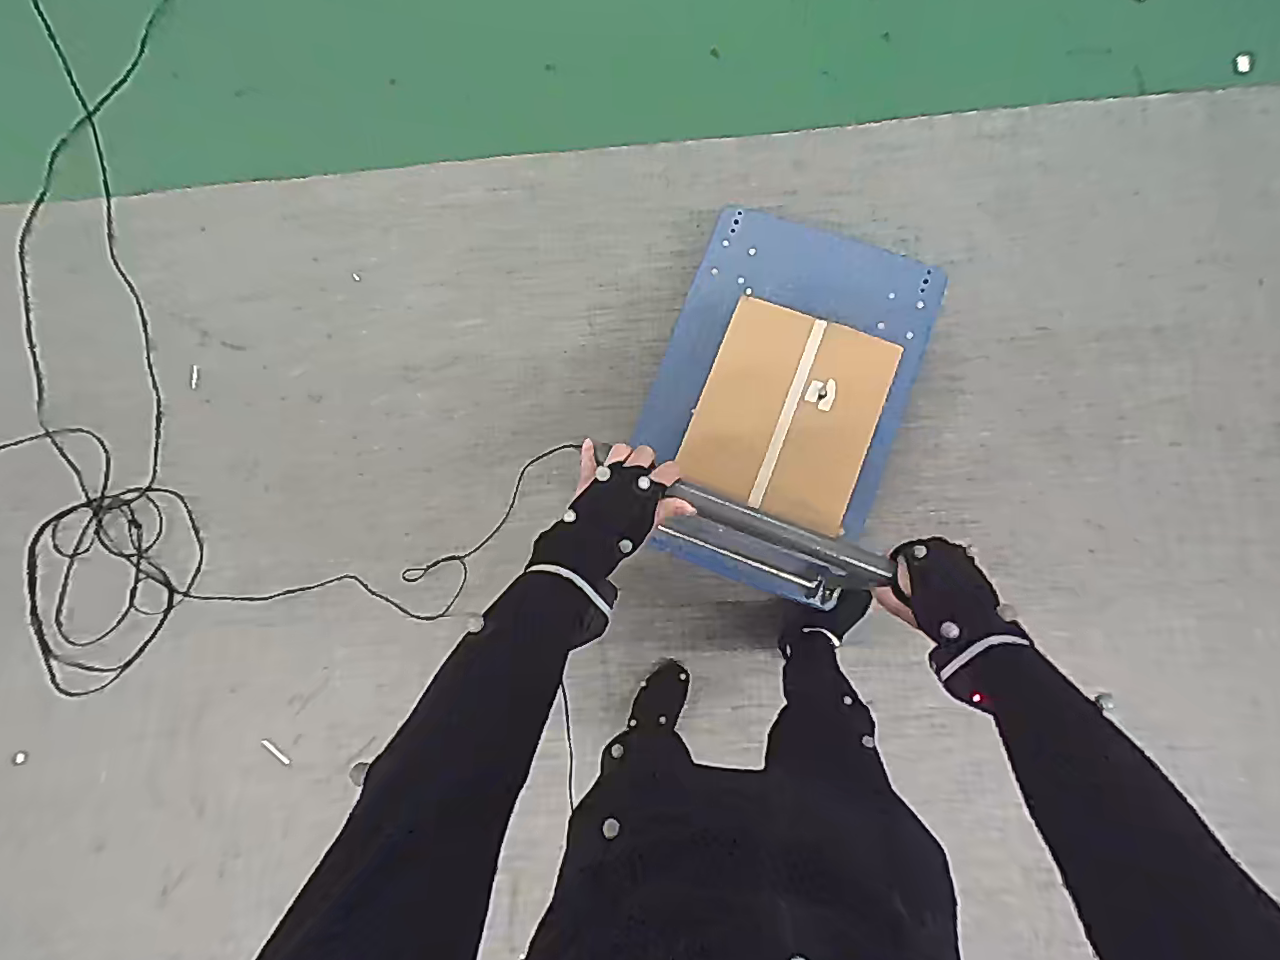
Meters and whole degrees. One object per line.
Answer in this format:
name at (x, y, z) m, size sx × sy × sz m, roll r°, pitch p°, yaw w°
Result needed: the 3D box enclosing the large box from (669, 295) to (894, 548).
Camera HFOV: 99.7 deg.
large box at (0.269, -0.096, 1.128) m, size 0.320 × 0.320 × 0.408 m, roll 20°, pitch 83°, yaw 6°
